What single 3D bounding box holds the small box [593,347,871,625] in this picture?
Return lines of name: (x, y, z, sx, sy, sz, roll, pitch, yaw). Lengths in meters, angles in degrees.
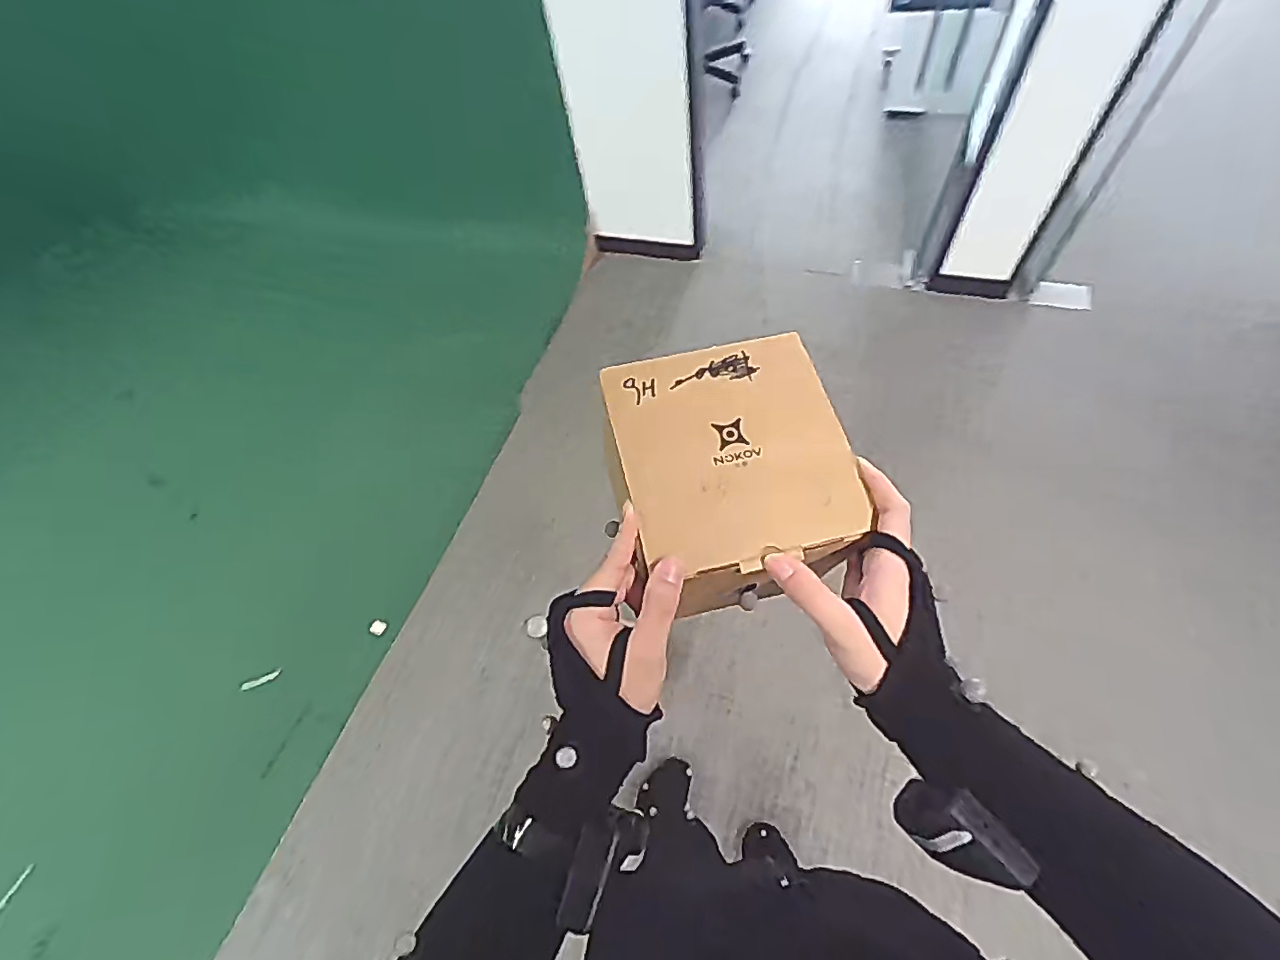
small box: (0.062, 0.019, 0.467, 0.168, 0.176, 0.179, -13, 67, -7)
